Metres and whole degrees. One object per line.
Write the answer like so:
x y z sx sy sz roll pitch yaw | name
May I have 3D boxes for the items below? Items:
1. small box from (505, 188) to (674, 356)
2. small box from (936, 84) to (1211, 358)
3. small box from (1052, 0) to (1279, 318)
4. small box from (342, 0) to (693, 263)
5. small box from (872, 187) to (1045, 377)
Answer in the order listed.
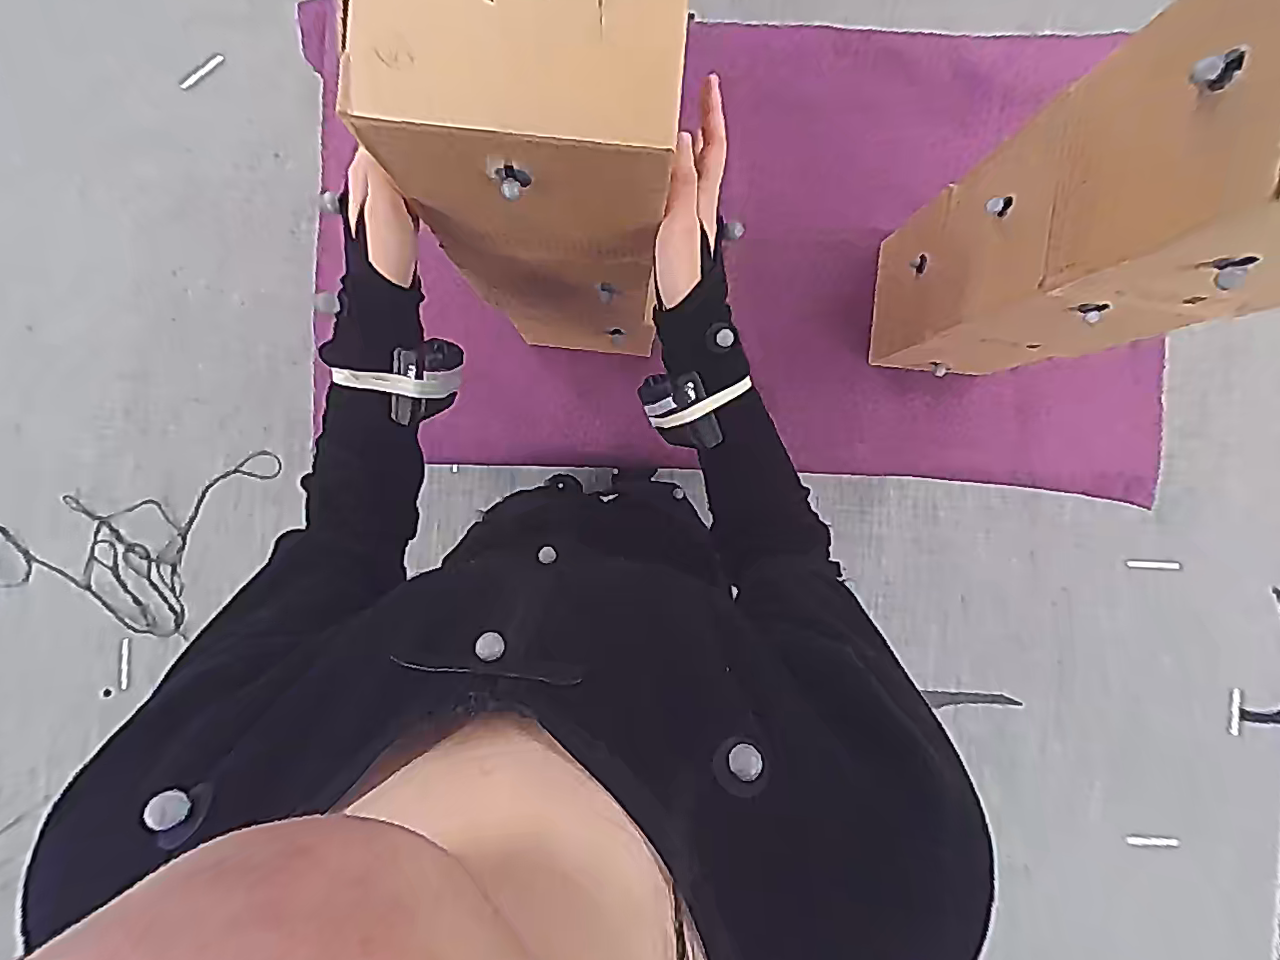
-0.059 -0.260 0.682 0.179 0.176 0.168 6 90 -1 | small box
0.421 -0.233 0.532 0.168 0.176 0.179 8 90 -1 | small box
0.426 -0.224 0.369 0.168 0.176 0.179 7 90 -1 | small box
-0.061 -0.258 0.355 0.179 0.176 0.168 5 92 -2 | small box
0.418 -0.240 0.696 0.168 0.176 0.179 5 91 -1 | small box
